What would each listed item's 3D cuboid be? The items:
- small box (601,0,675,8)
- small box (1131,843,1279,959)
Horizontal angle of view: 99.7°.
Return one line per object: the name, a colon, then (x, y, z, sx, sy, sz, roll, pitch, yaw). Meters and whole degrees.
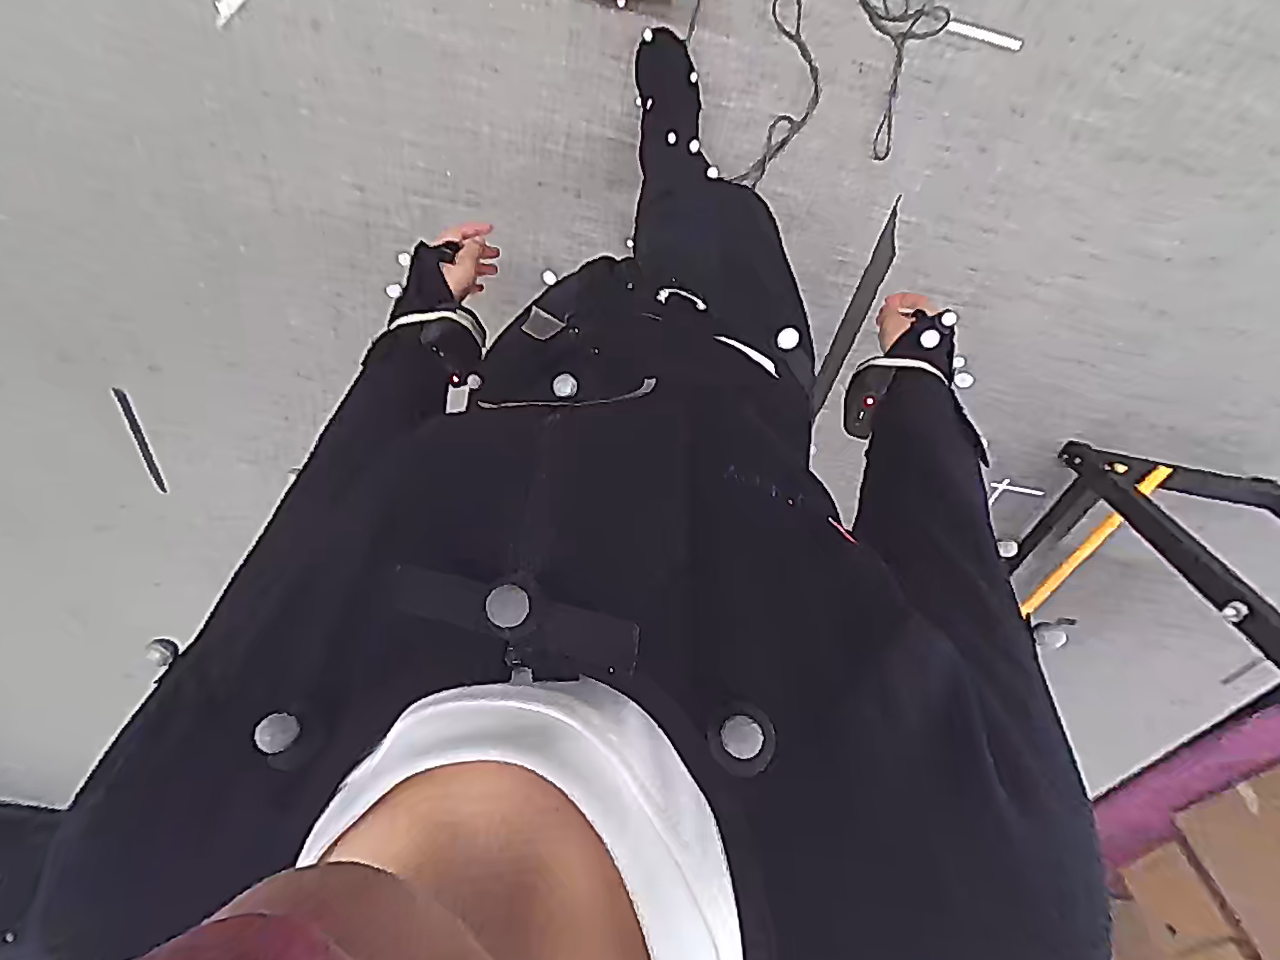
small box: (-0.017, -0.862, 0.835, 0.168, 0.176, 0.179, 7, 127, 1)
small box: (1.168, 0.874, 1.100, 0.168, 0.176, 0.179, 10, 126, -3)
